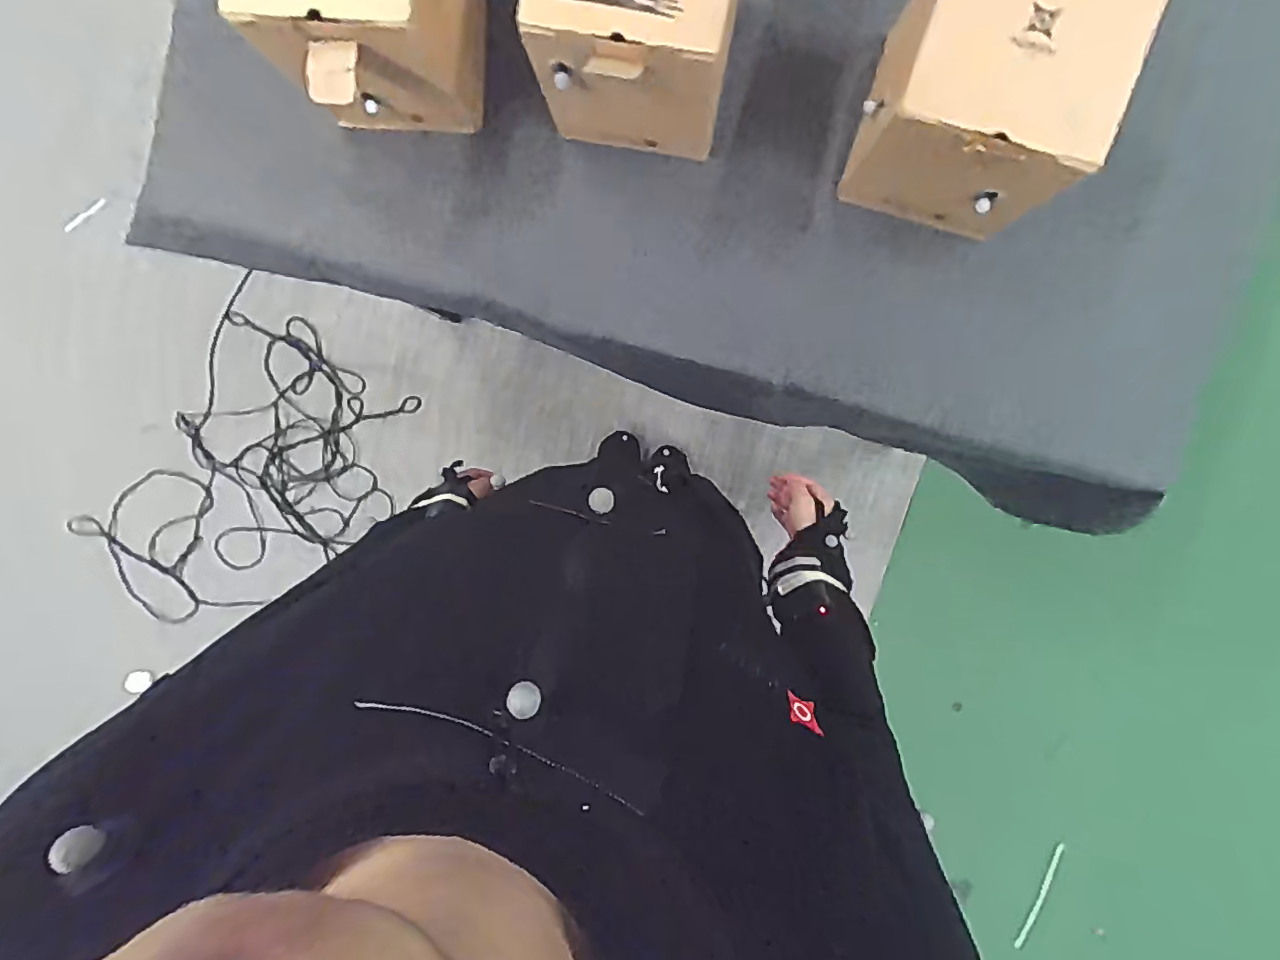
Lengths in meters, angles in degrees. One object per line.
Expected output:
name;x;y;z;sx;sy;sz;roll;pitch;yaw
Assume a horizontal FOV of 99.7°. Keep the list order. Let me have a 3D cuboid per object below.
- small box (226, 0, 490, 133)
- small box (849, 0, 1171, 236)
small box;-0.250;-0.472;0.515;0.168;0.176;0.179;5;96;2
small box;0.314;-0.353;0.495;0.168;0.176;0.179;17;95;0
